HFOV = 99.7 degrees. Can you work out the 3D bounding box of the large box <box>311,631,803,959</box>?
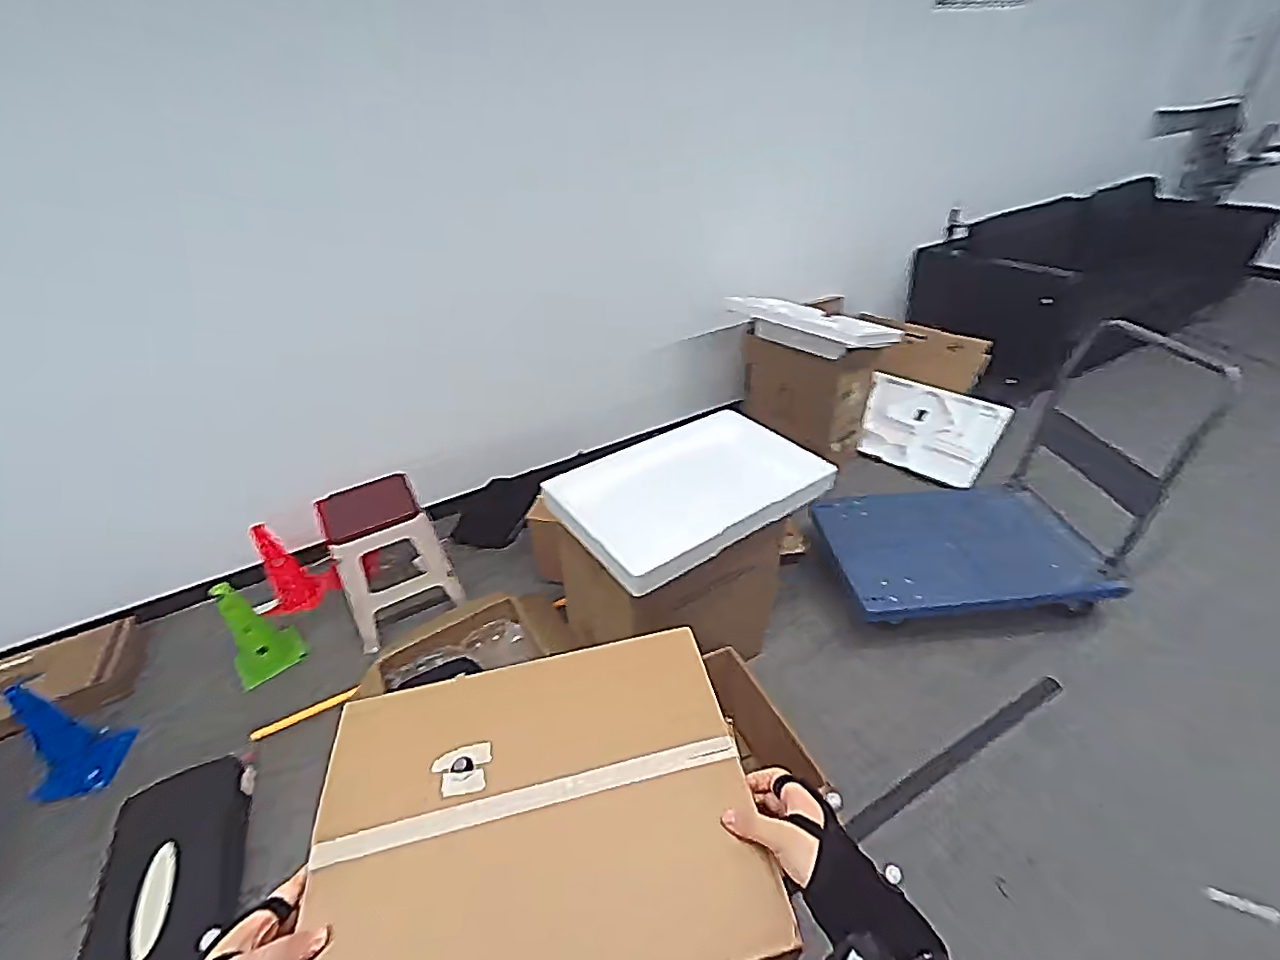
[{"bbox_3d":[-0.078,0.431,0.614,0.408,0.320,0.320,-12,37,-7],"label":"large box"}]
